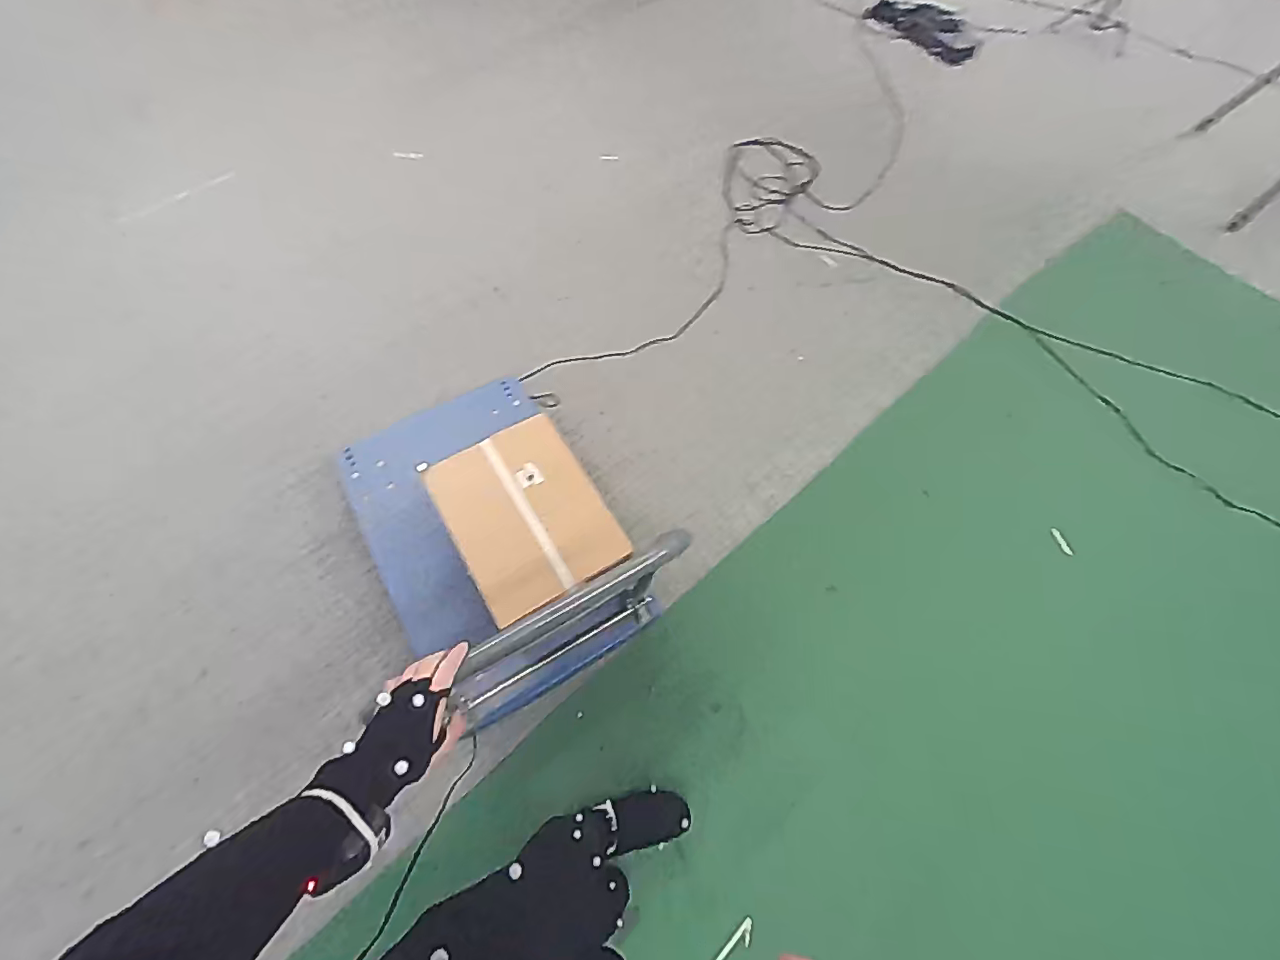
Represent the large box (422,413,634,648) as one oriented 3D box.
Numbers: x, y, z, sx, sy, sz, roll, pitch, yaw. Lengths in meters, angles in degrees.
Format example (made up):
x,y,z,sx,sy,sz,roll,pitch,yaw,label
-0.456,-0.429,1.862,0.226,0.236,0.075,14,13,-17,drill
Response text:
x,y,z,sx,sy,sz,roll,pitch,yaw,label
-0.251,0.129,1.291,0.320,0.320,0.408,-28,69,-17,large box
